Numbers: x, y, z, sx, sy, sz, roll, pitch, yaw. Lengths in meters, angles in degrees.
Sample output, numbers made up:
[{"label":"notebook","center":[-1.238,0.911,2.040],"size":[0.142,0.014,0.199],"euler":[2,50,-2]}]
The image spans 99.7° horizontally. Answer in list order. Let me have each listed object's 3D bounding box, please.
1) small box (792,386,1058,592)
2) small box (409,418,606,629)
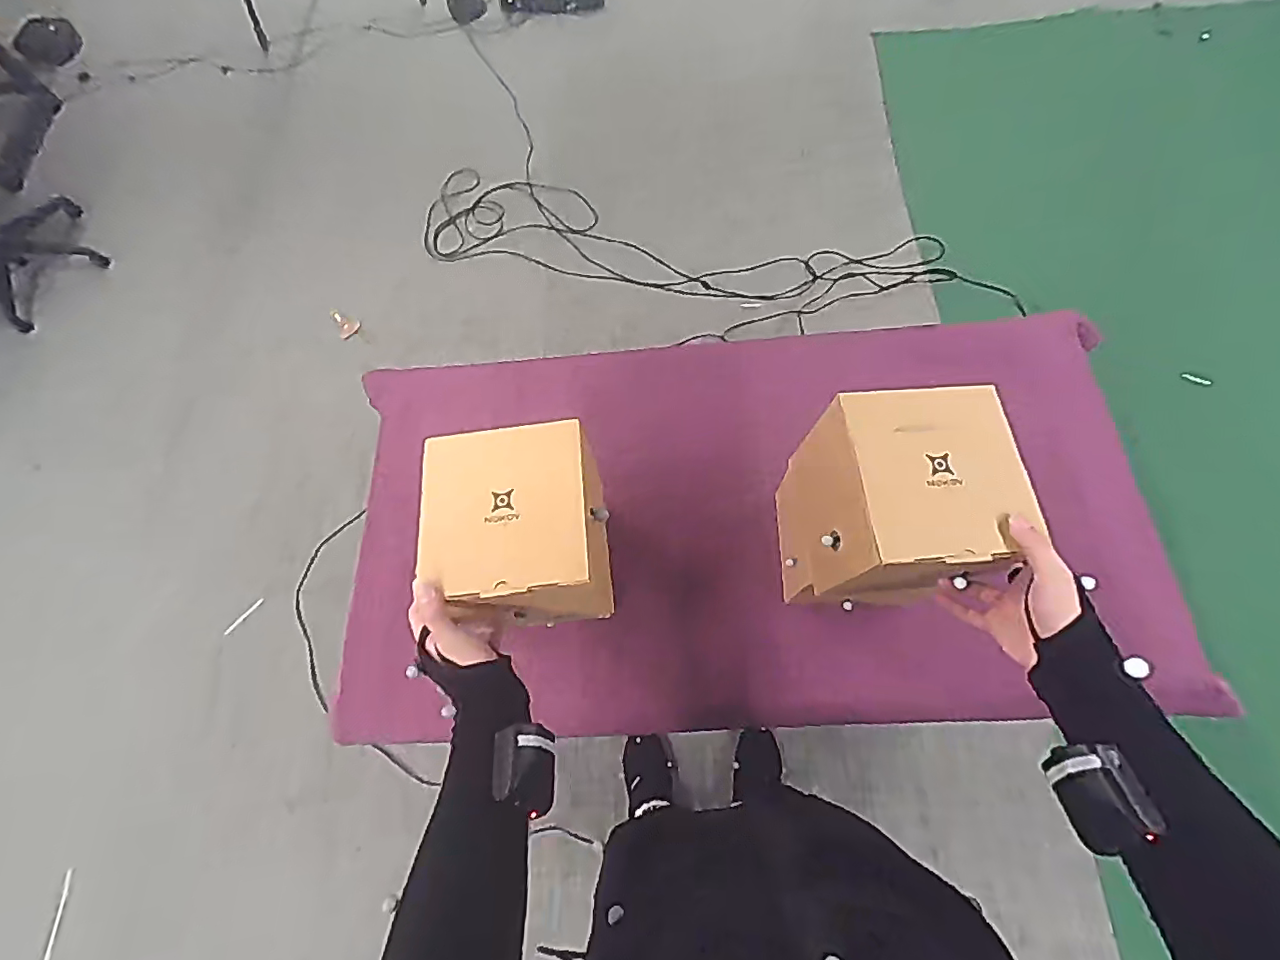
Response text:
[{"label":"small box","center":[0.276,0.020,0.572],"size":[0.168,0.176,0.179],"euler":[-2,68,-5]},{"label":"small box","center":[-0.131,0.055,0.593],"size":[0.168,0.176,0.179],"euler":[-7,67,1]}]
